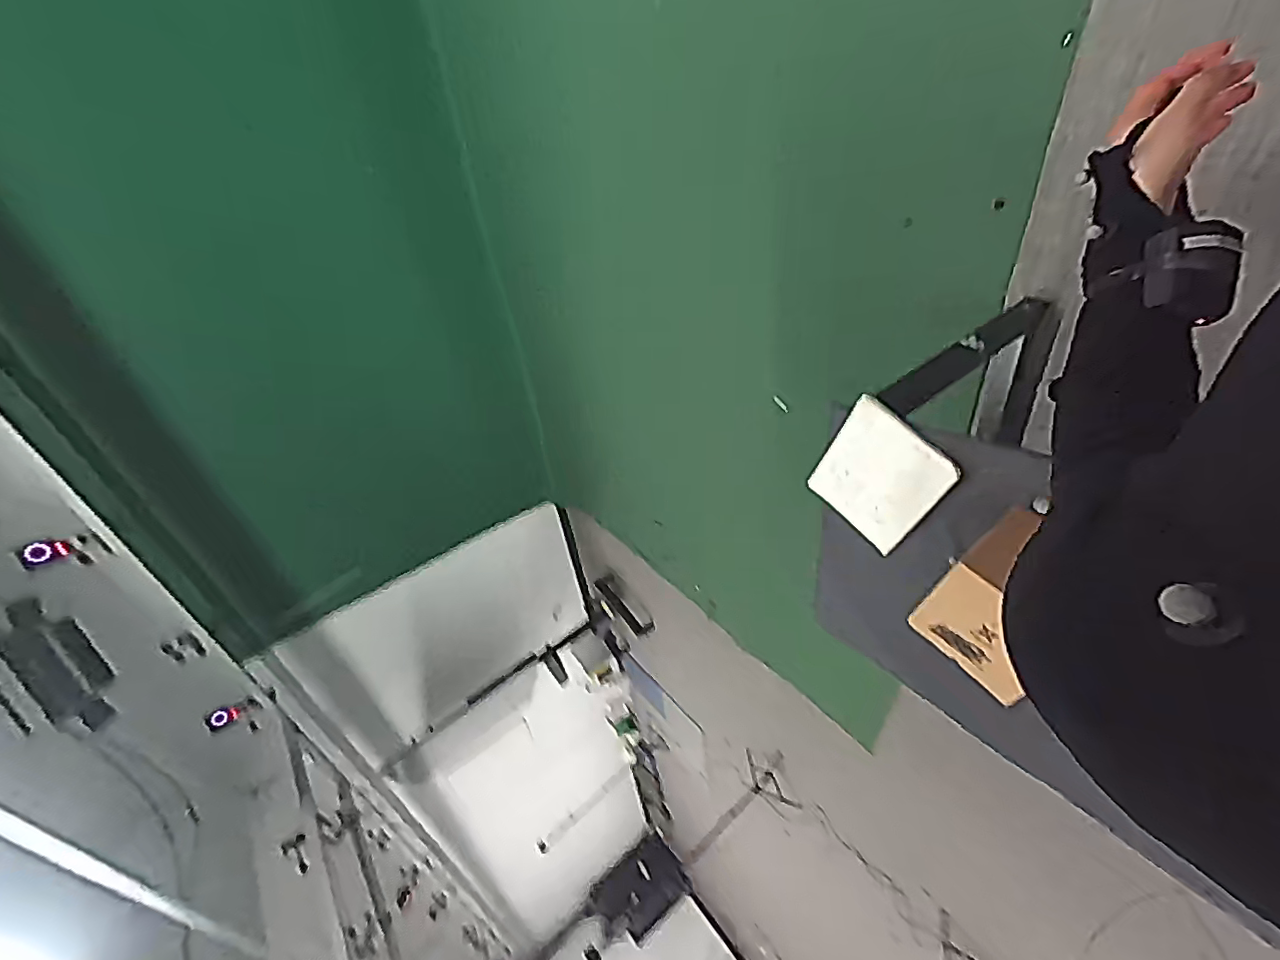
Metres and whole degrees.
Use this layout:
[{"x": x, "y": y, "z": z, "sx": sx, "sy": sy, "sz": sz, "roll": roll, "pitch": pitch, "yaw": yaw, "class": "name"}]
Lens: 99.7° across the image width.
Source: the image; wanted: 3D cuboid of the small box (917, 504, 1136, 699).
[{"x": 0.545, "y": 0.170, "z": 0.773, "sx": 0.168, "sy": 0.176, "sz": 0.179, "roll": 43, "pitch": 149, "yaw": 30, "class": "small box"}]
